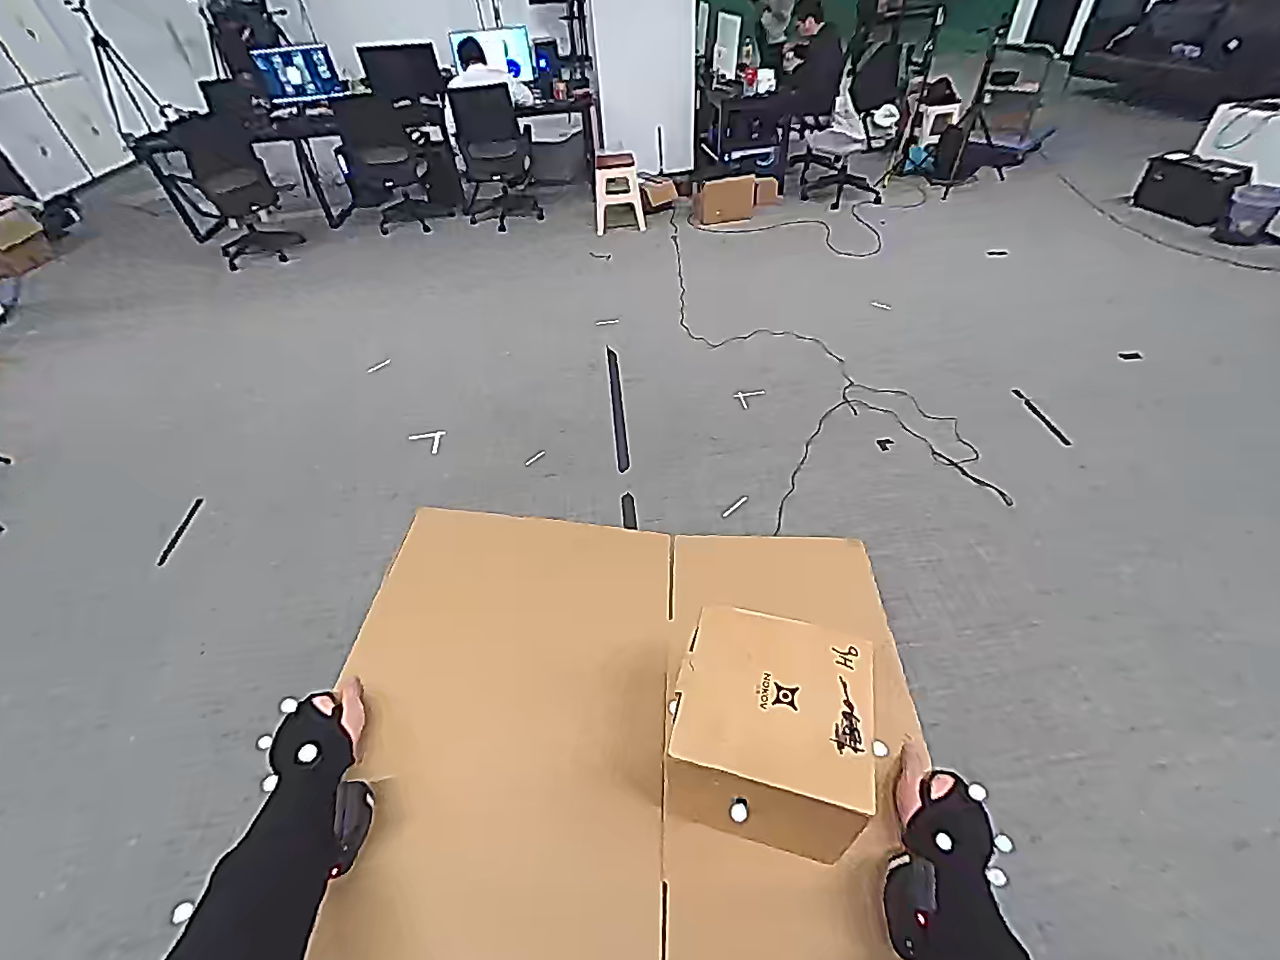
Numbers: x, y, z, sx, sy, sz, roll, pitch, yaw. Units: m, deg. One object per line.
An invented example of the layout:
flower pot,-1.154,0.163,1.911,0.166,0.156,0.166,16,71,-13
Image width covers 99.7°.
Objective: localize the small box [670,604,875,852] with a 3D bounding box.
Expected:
small box,0.137,0.259,0.569,0.179,0.176,0.168,9,45,15
